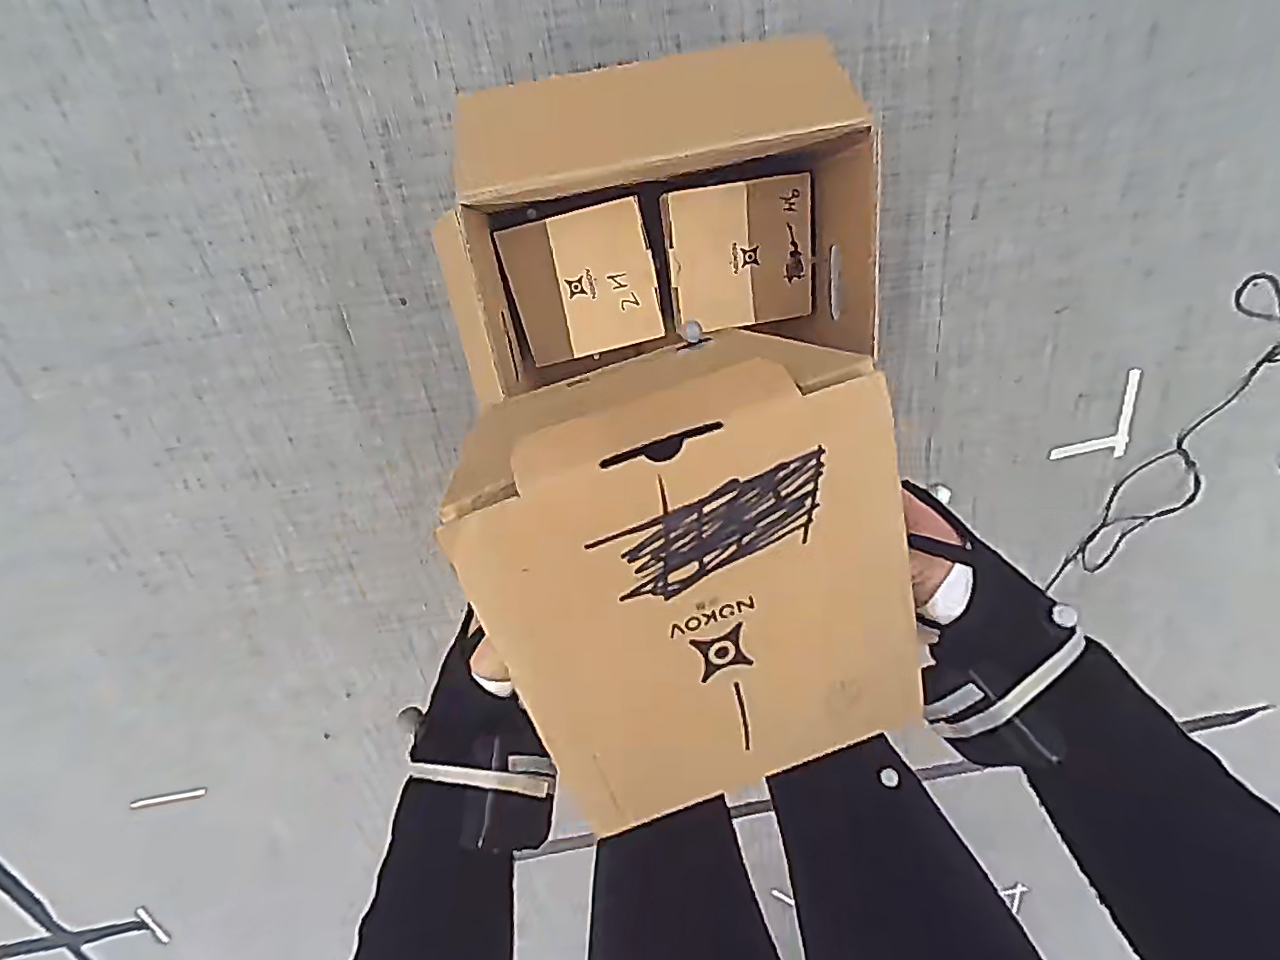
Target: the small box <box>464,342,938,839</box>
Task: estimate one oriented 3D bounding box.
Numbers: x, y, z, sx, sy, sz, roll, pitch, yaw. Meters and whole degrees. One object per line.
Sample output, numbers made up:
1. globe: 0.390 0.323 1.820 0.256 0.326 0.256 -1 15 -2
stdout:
1. small box: 0.025 0.032 0.289 0.168 0.176 0.179 -18 112 -3
